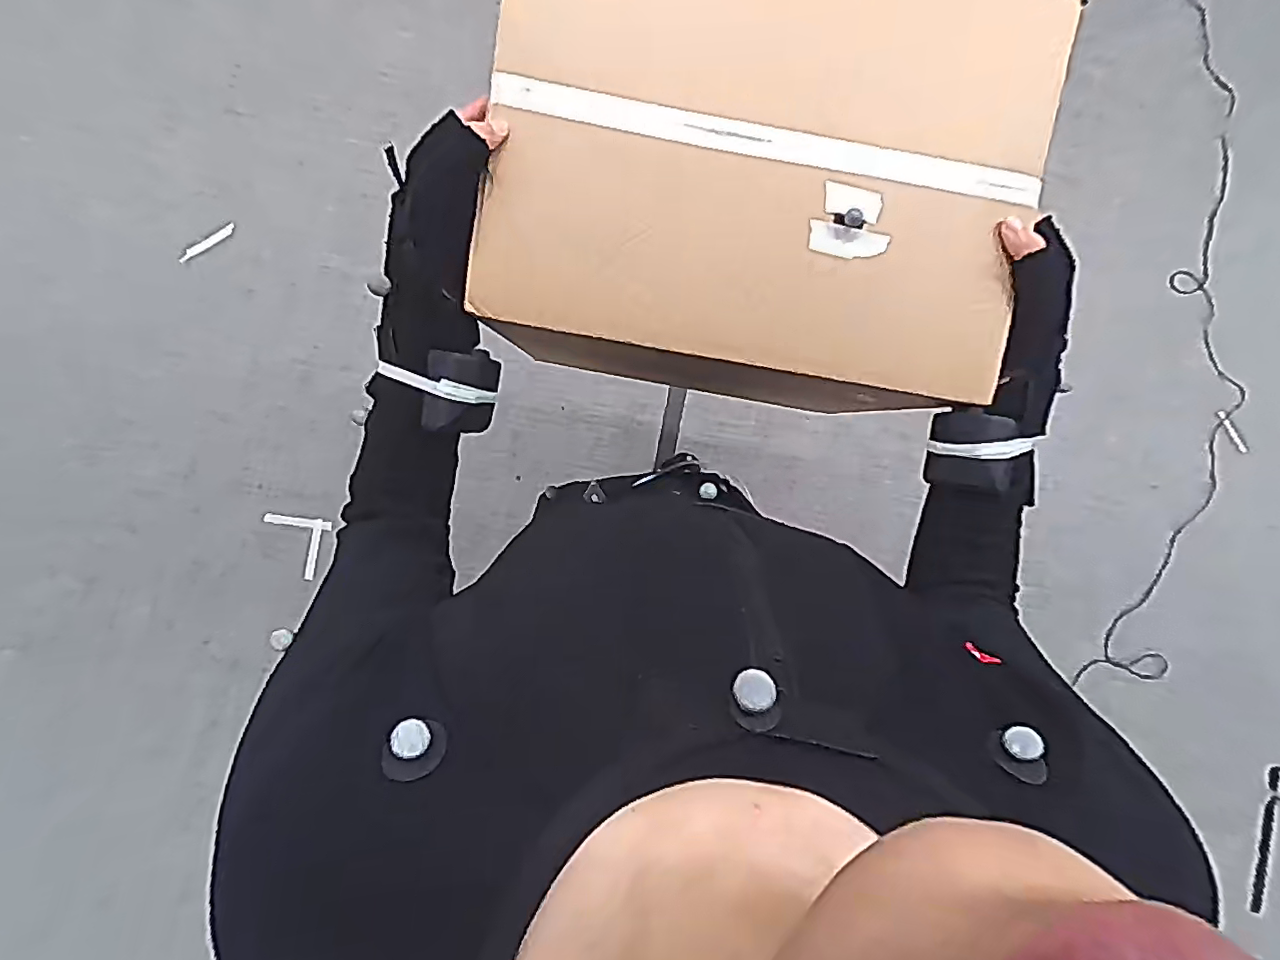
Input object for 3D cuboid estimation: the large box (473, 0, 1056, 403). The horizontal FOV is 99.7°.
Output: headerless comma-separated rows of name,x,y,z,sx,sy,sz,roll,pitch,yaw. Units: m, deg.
large box,0.082,-0.264,0.549,0.408,0.320,0.320,9,97,-4
